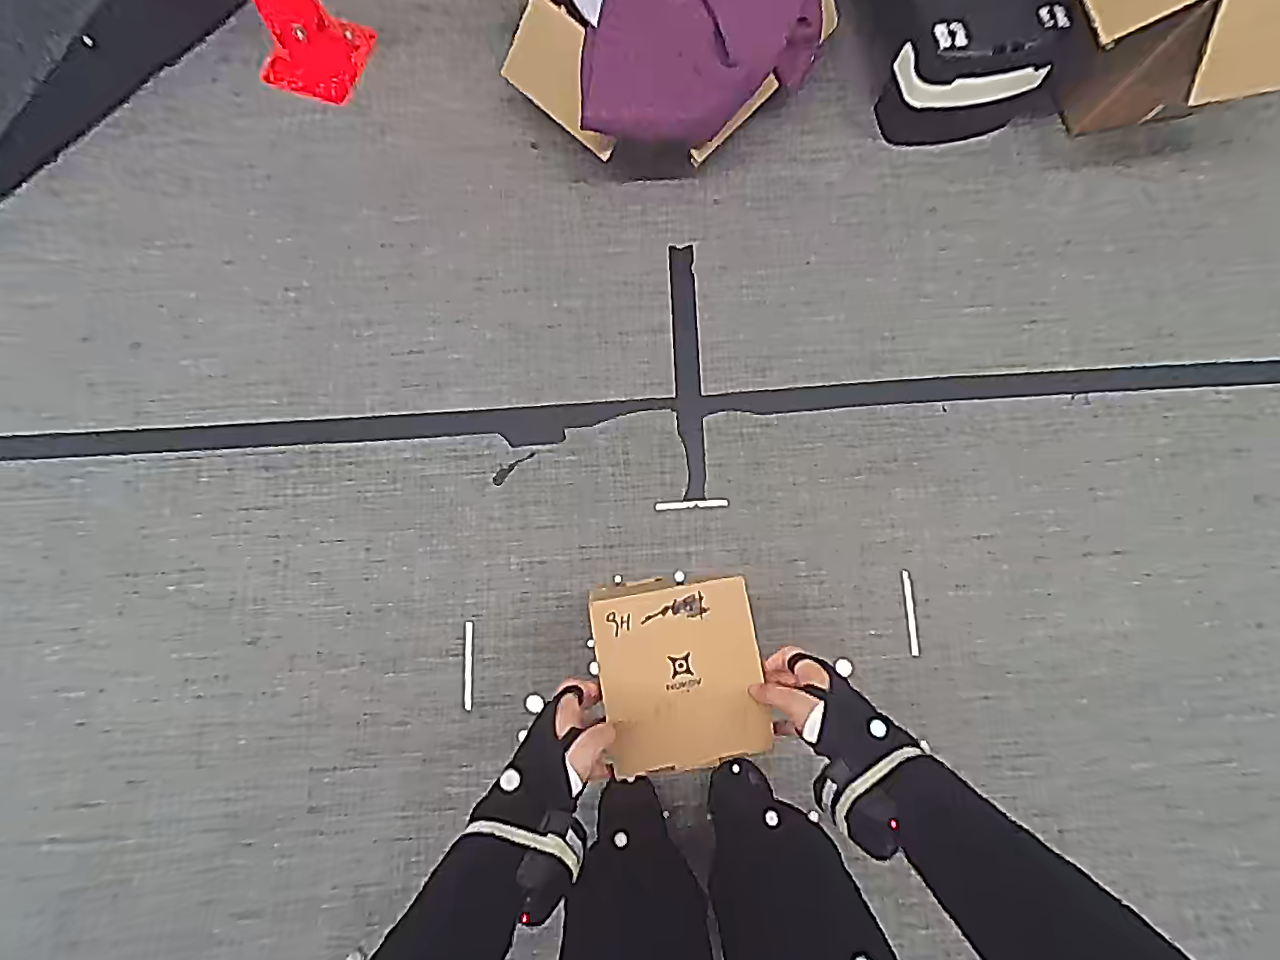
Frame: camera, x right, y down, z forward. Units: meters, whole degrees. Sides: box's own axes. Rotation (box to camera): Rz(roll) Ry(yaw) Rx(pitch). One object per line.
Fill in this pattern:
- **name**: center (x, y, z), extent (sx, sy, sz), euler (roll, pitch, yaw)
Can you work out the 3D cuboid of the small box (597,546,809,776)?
- **small box**: center (0.051, 0.165, 0.554), extent (0.168, 0.176, 0.179), euler (-9, 83, -5)
